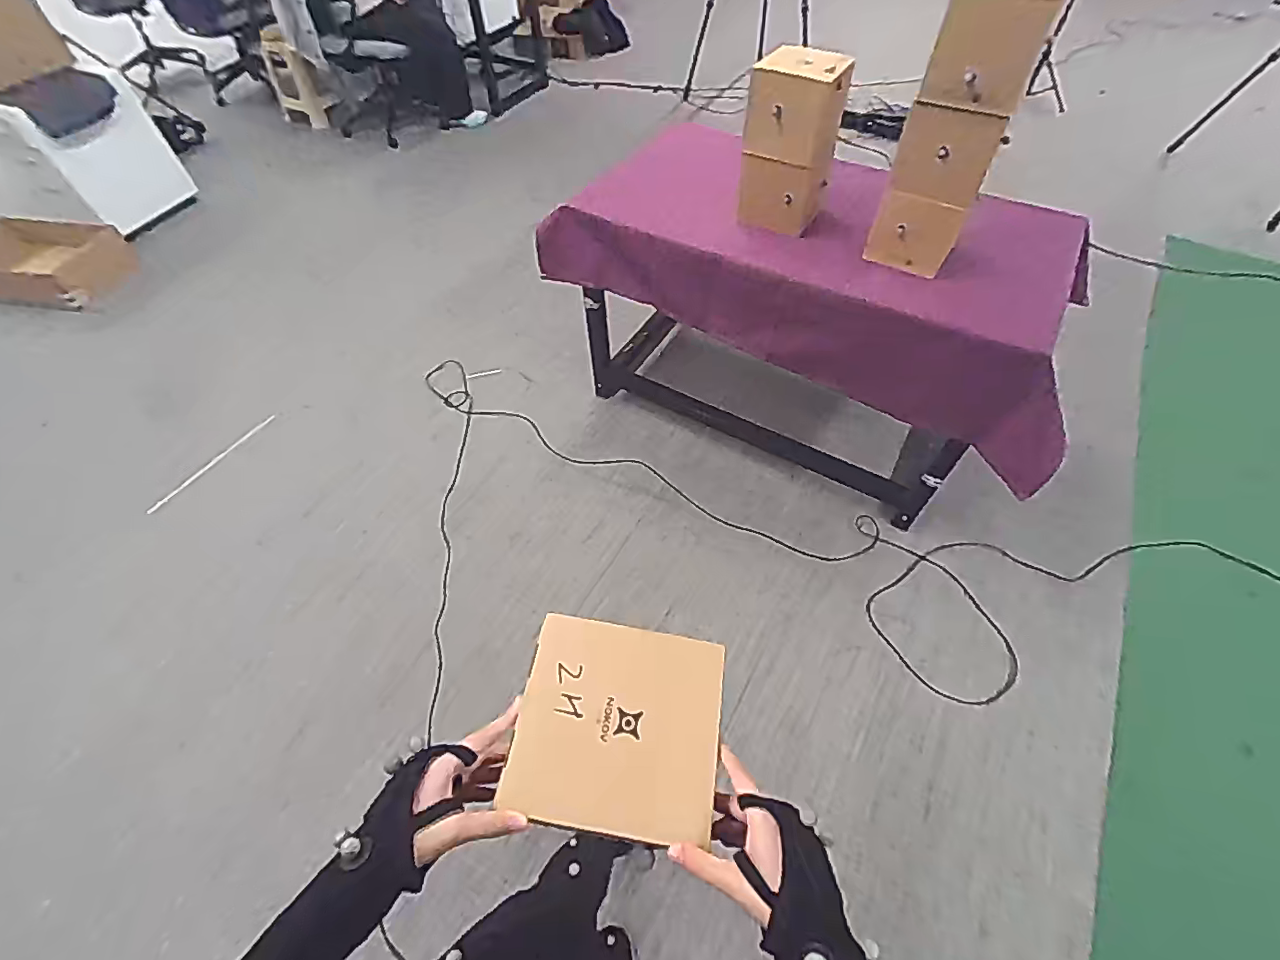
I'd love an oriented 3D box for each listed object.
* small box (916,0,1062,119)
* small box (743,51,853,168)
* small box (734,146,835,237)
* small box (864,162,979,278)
[{"bbox_3d":[0.628,-0.788,0.977,0.168,0.176,0.179,26,59,20],"label":"small box"},{"bbox_3d":[0.348,-0.834,1.221,0.179,0.176,0.168,27,59,19],"label":"small box"},{"bbox_3d":[0.355,-0.737,1.353,0.179,0.176,0.168,26,58,19],"label":"small box"},{"bbox_3d":[0.638,-0.595,1.243,0.168,0.176,0.179,28,58,20],"label":"small box"}]
